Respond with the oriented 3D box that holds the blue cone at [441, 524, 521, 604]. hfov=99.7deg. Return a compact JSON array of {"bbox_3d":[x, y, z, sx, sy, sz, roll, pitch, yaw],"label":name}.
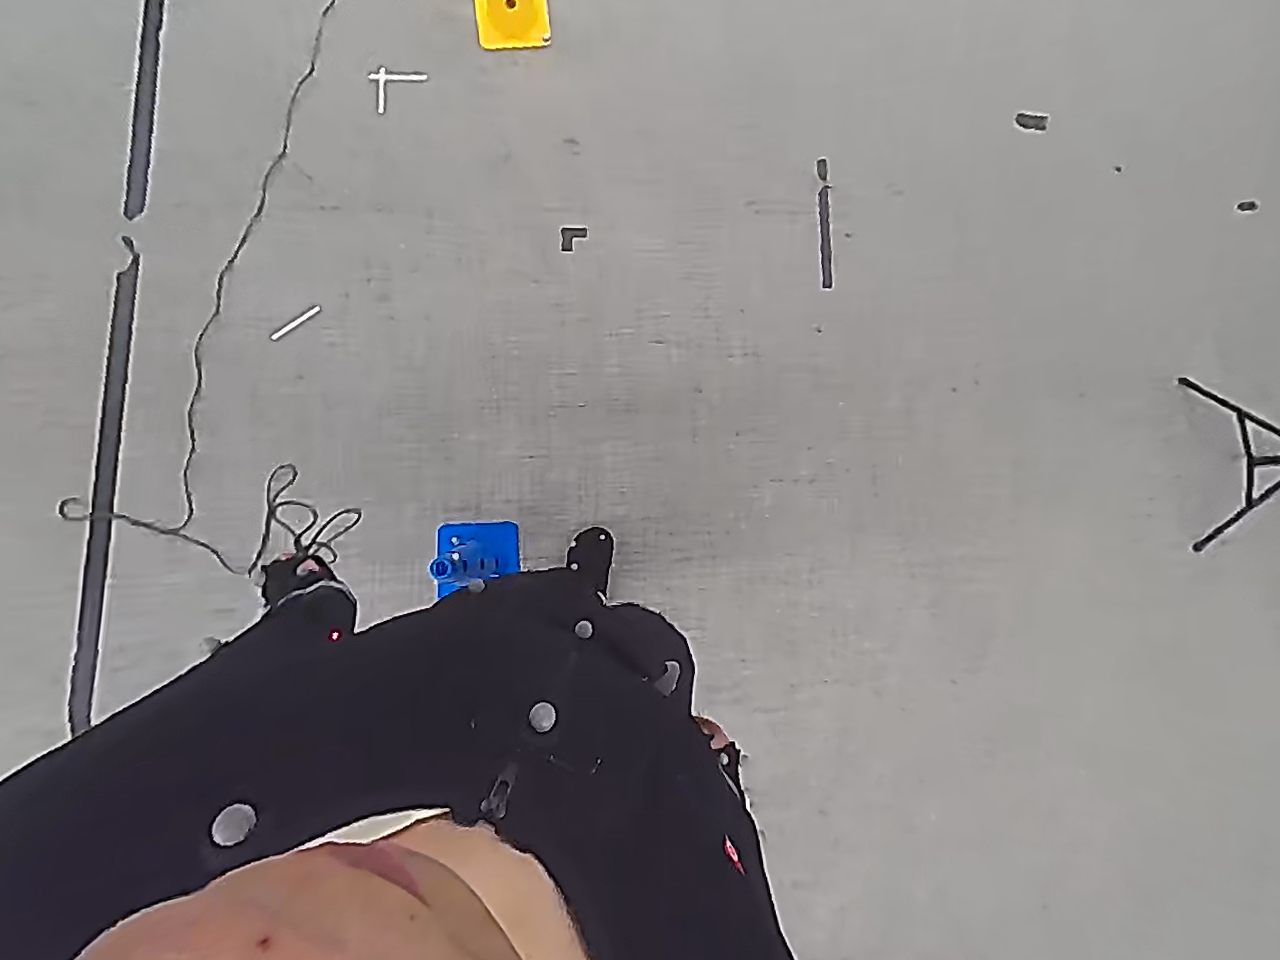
[{"bbox_3d":[-0.374,0.187,1.171,0.192,0.380,0.193,0,83,-6],"label":"blue cone"}]
